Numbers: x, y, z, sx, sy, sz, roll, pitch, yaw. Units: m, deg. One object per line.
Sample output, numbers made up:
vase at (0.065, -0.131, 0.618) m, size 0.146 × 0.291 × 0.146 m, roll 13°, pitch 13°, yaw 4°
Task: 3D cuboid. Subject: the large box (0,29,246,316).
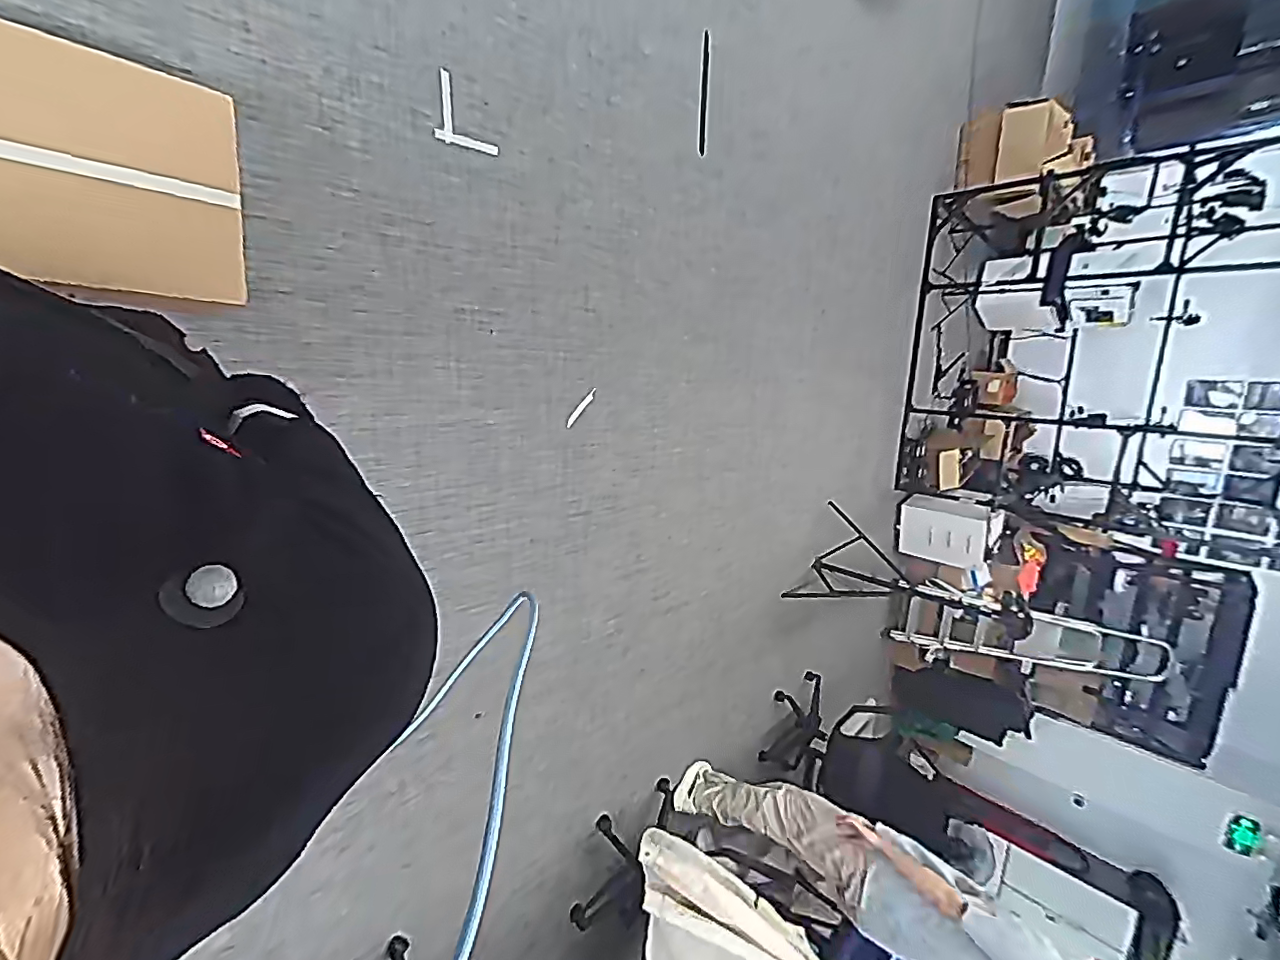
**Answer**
large box at (-0.886, -0.437, 0.822) m, size 0.408 × 0.320 × 0.320 m, roll -7°, pitch 105°, yaw -45°
